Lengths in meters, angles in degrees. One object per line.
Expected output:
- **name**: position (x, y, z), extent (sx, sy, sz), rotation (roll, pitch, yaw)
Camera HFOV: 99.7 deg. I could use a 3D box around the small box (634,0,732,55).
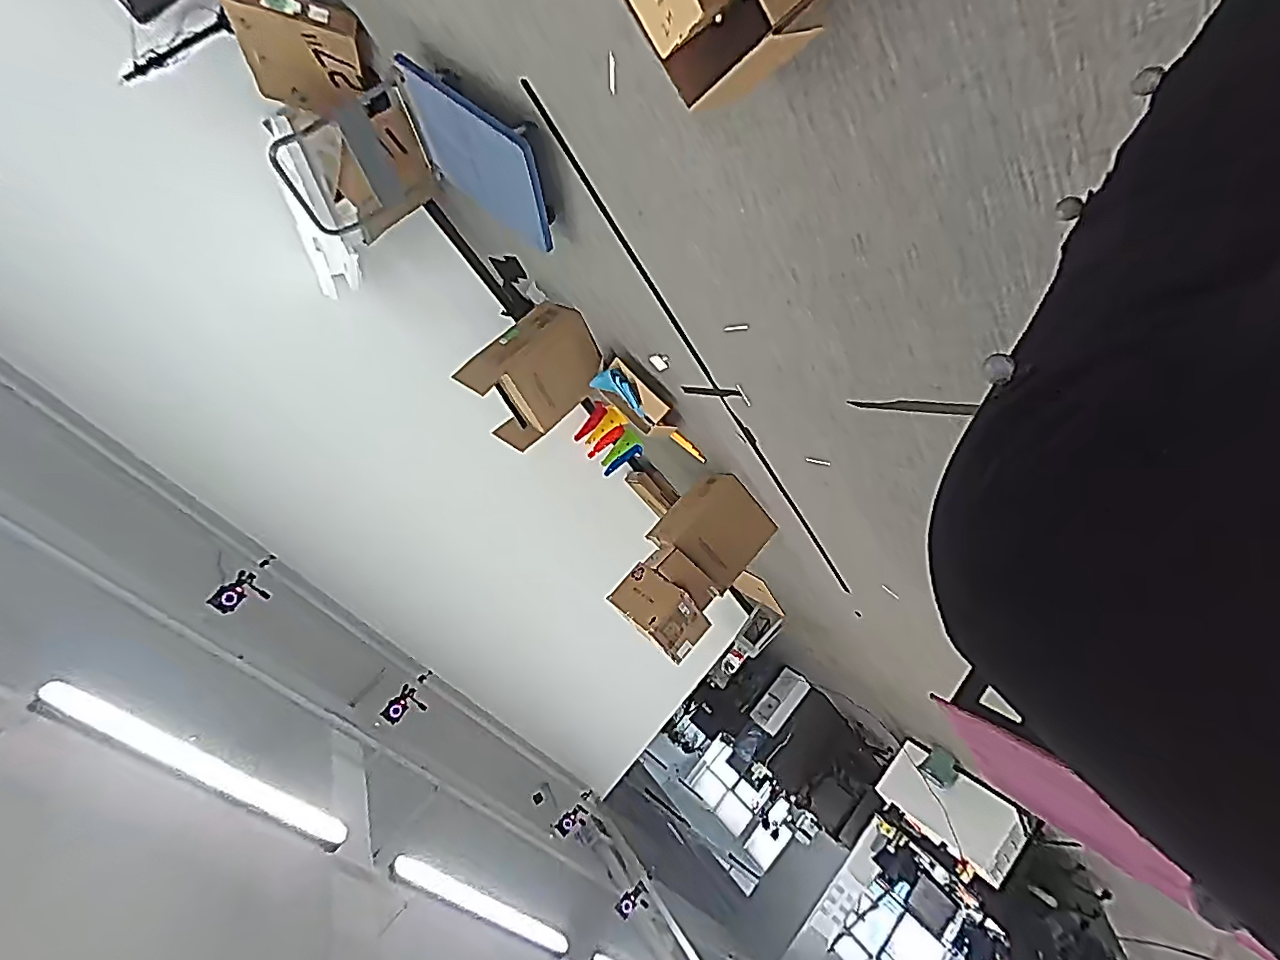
- **small box**: position (0.098, -1.033, 1.097), extent (0.179, 0.176, 0.168), rotation (50, 165, -24)
